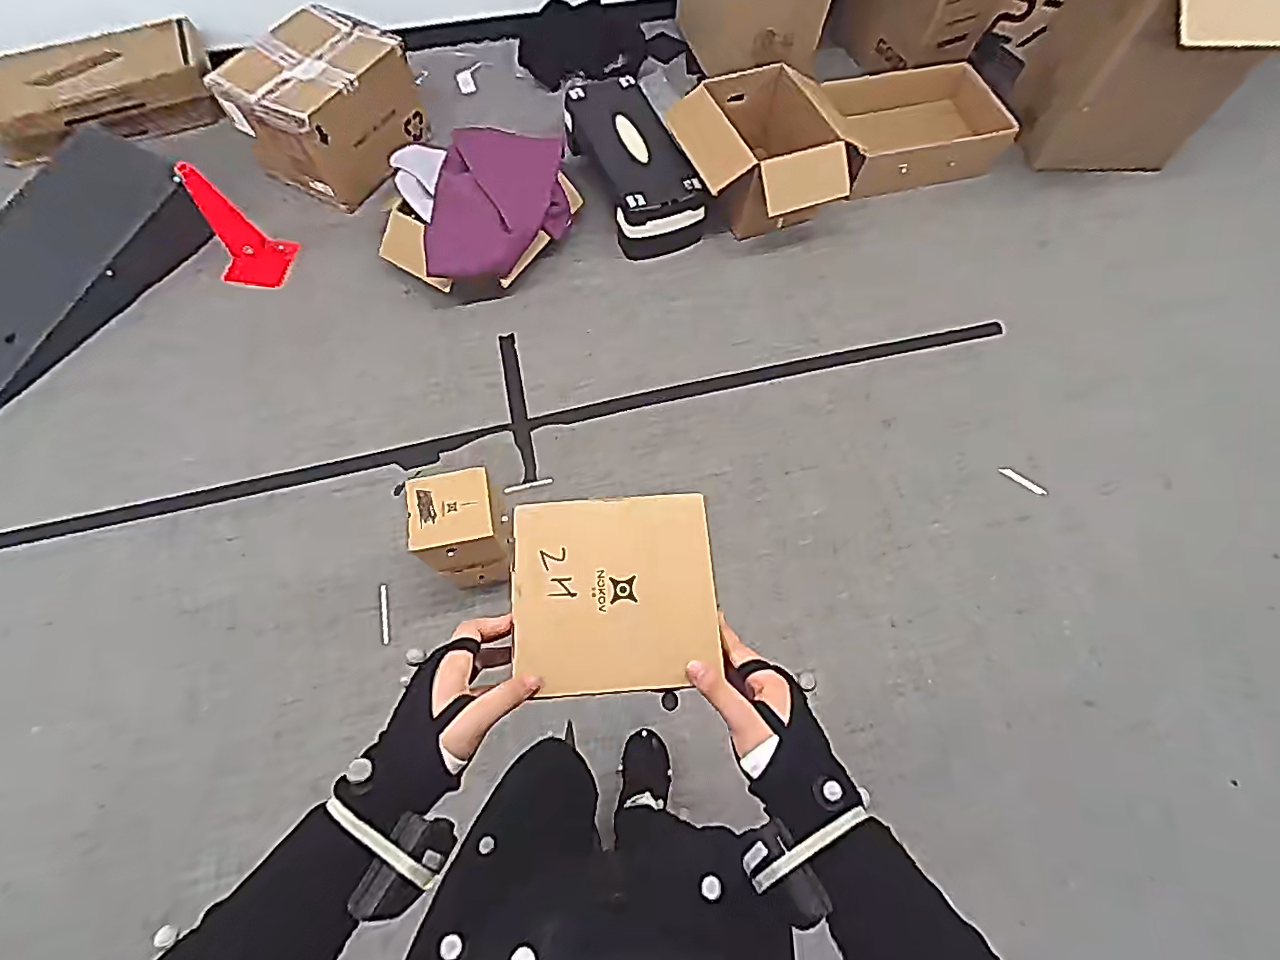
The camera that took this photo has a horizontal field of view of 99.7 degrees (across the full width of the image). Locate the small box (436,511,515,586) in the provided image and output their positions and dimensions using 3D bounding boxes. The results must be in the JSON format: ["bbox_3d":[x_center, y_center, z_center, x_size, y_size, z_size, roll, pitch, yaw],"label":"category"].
[{"bbox_3d":[-0.413,0.163,1.370,0.168,0.176,0.179,-11,68,-5],"label":"small box"}]

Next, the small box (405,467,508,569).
[{"bbox_3d":[-0.409,0.092,1.220,0.179,0.176,0.168,-11,68,-6],"label":"small box"}]

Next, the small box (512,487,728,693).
[{"bbox_3d":[-0.020,0.115,0.532,0.179,0.176,0.168,-4,69,-1],"label":"small box"}]
